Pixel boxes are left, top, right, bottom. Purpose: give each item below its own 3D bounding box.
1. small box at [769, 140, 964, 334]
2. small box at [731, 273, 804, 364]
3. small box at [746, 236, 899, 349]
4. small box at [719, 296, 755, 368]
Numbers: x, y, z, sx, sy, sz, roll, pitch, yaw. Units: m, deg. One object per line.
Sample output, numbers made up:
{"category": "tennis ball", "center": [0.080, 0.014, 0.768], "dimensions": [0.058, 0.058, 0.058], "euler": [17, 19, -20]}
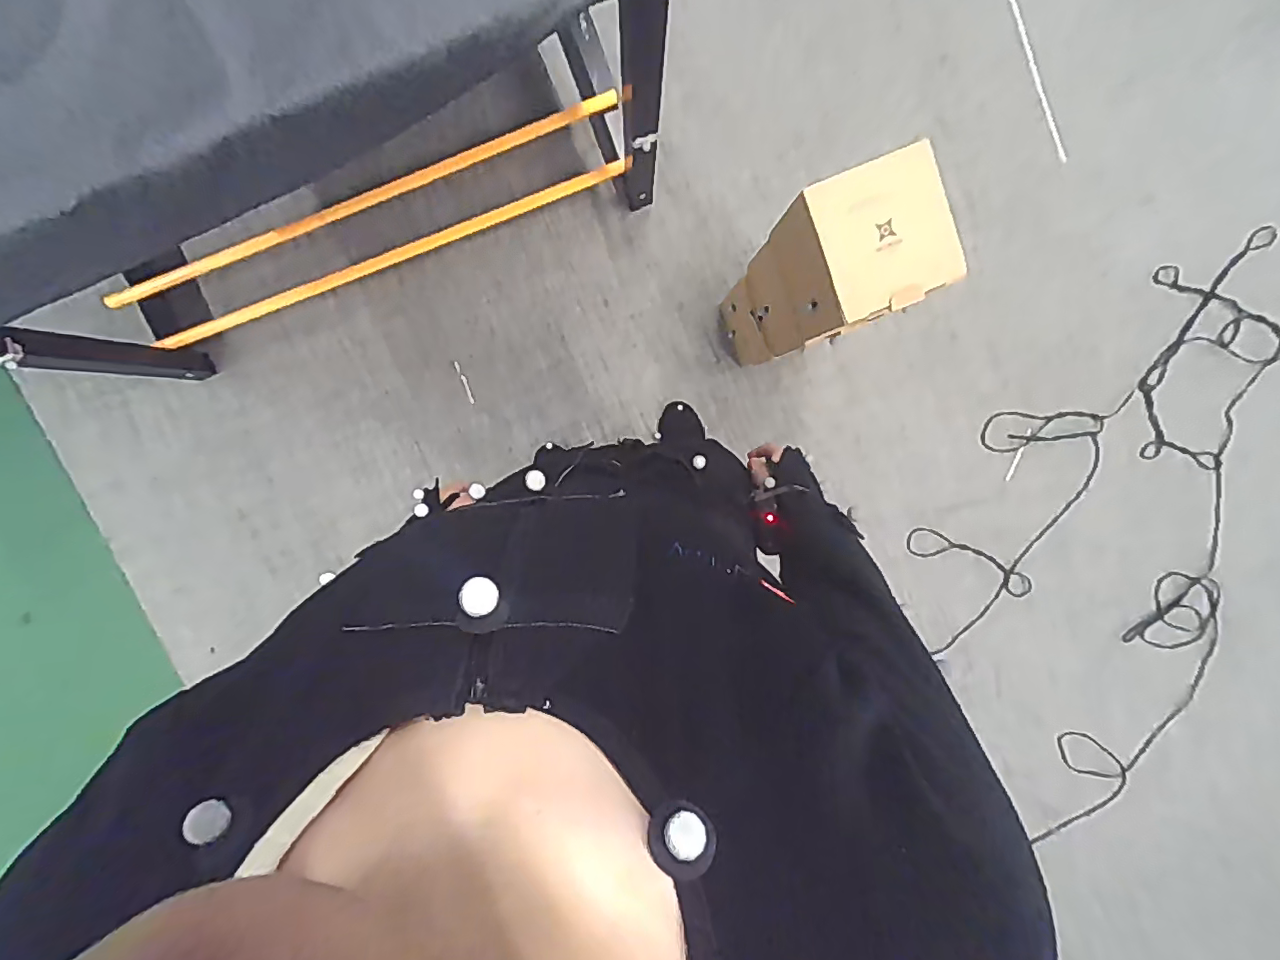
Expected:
{"category": "small box", "center": [0.299, -0.315, 0.747], "dimensions": [0.168, 0.176, 0.179], "euler": [-22, 96, 1]}
{"category": "small box", "center": [0.291, -0.341, 1.073], "dimensions": [0.179, 0.176, 0.168], "euler": [-23, 97, 1]}
{"category": "small box", "center": [0.296, -0.329, 0.908], "dimensions": [0.168, 0.176, 0.179], "euler": [-22, 98, 0]}
{"category": "small box", "center": [0.298, -0.368, 1.234], "dimensions": [0.179, 0.176, 0.168], "euler": [-21, 96, 0]}
